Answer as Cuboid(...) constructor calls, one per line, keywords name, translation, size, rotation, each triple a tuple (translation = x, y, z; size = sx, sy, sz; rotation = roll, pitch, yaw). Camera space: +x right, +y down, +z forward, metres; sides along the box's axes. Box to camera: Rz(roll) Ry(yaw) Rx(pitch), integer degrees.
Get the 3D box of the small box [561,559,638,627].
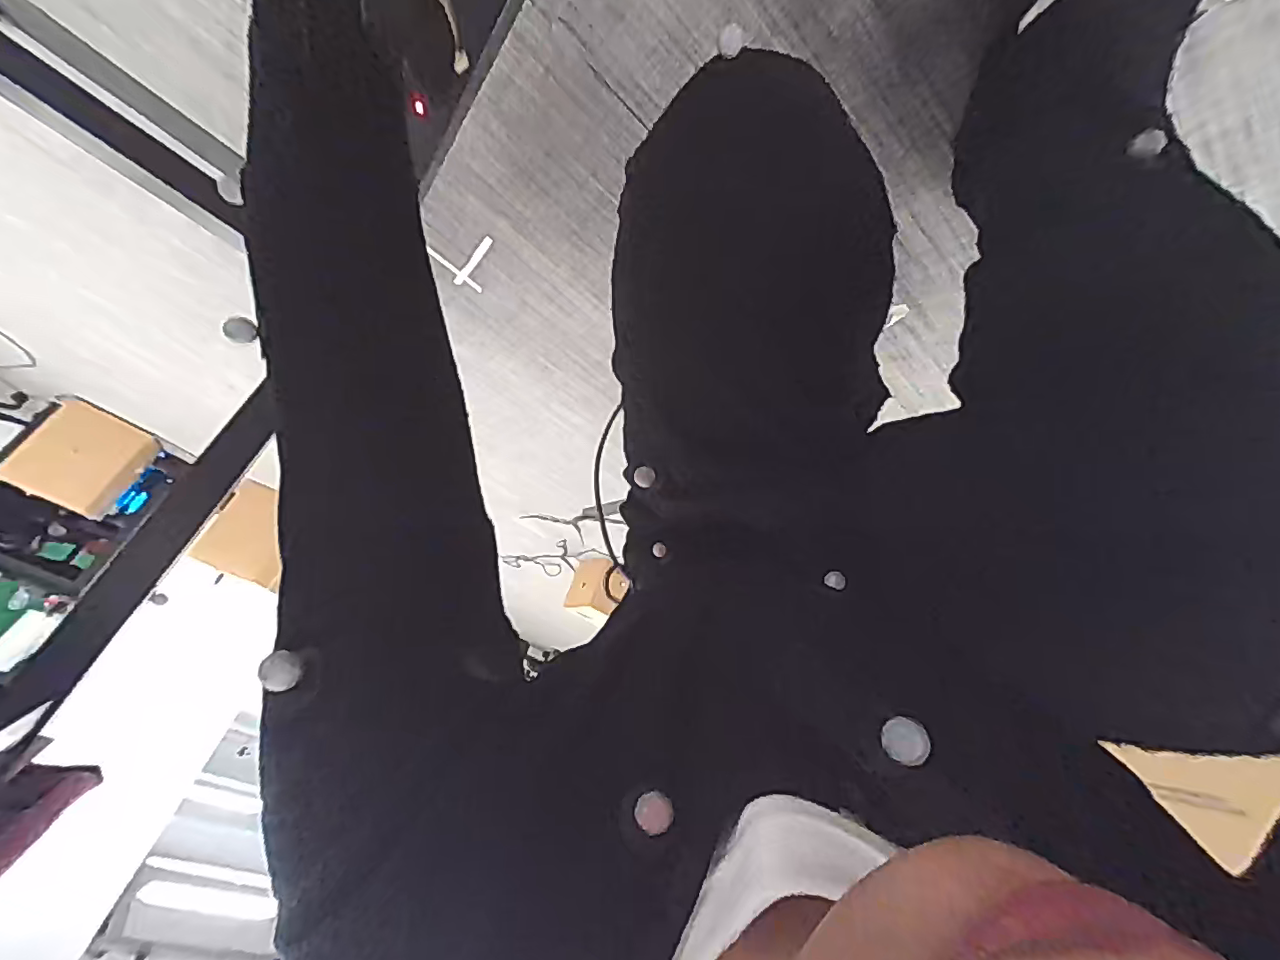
Cuboid(name="small box", translation=(-0.133, 0.379, 1.819), size=(0.168, 0.176, 0.179), rotation=(35, 150, -26))
